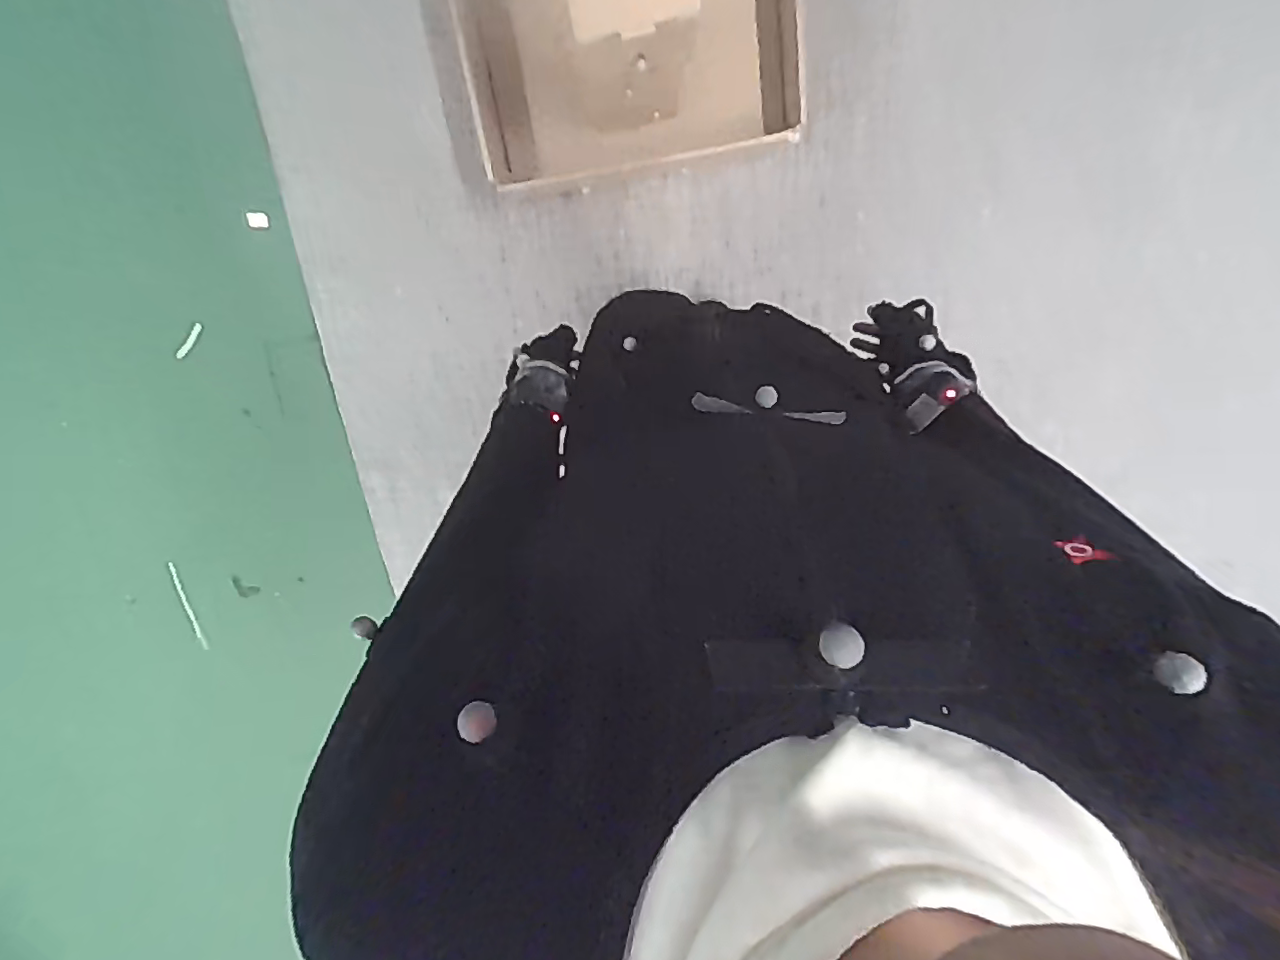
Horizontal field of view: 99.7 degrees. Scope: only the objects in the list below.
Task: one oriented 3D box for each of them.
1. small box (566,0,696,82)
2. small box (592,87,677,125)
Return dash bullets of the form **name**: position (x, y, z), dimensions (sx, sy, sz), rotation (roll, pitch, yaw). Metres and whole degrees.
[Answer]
- **small box**: position (-0.017, -0.690, 0.754), dimensions (0.168, 0.176, 0.179), rotation (-11, 109, 7)
- **small box**: position (-0.019, -0.808, 1.039), dimensions (0.168, 0.176, 0.179), rotation (-8, 109, 5)
